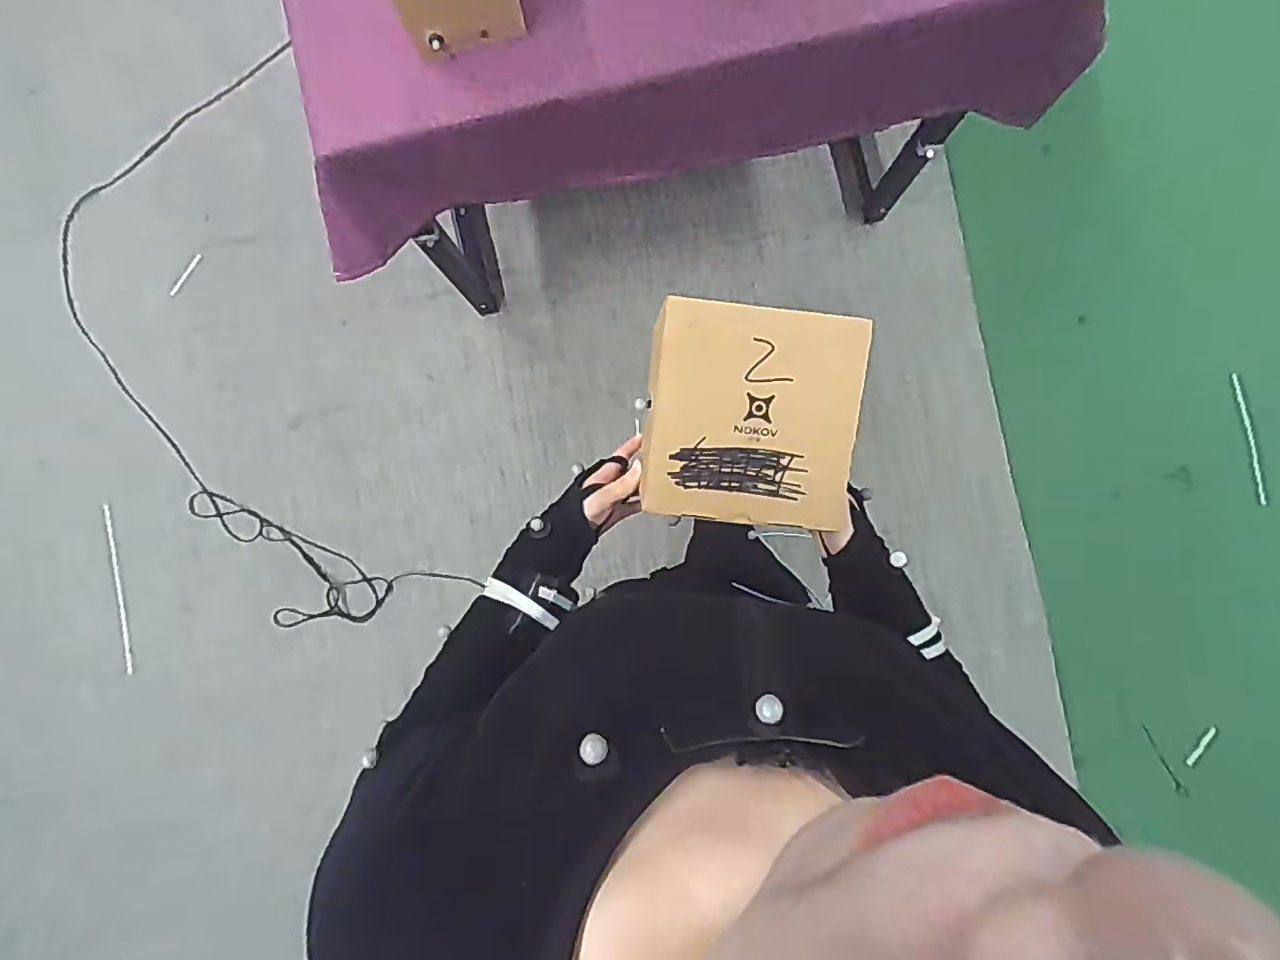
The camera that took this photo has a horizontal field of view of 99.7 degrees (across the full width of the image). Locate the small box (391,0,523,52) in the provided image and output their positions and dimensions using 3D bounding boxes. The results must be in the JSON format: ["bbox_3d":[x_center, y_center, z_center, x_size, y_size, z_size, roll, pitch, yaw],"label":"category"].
[{"bbox_3d":[-0.272,-0.735,0.741,0.168,0.176,0.179,-14,86,0],"label":"small box"}]
